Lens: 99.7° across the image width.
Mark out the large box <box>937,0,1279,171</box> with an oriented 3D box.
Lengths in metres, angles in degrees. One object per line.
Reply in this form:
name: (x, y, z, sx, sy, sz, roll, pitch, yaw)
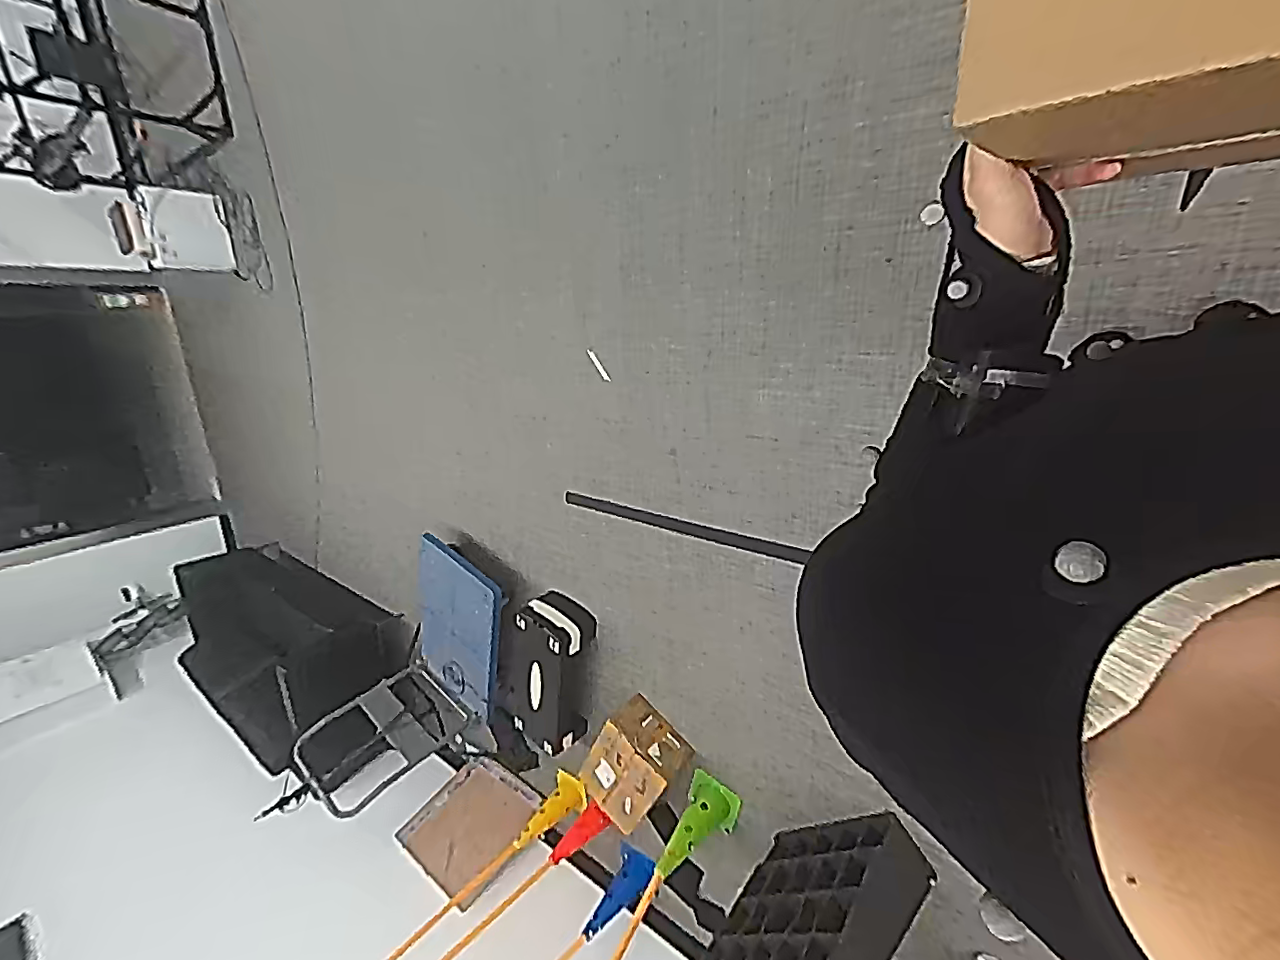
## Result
large box: (0.371, -0.317, 0.163, 0.408, 0.320, 0.320, 16, 119, 44)
